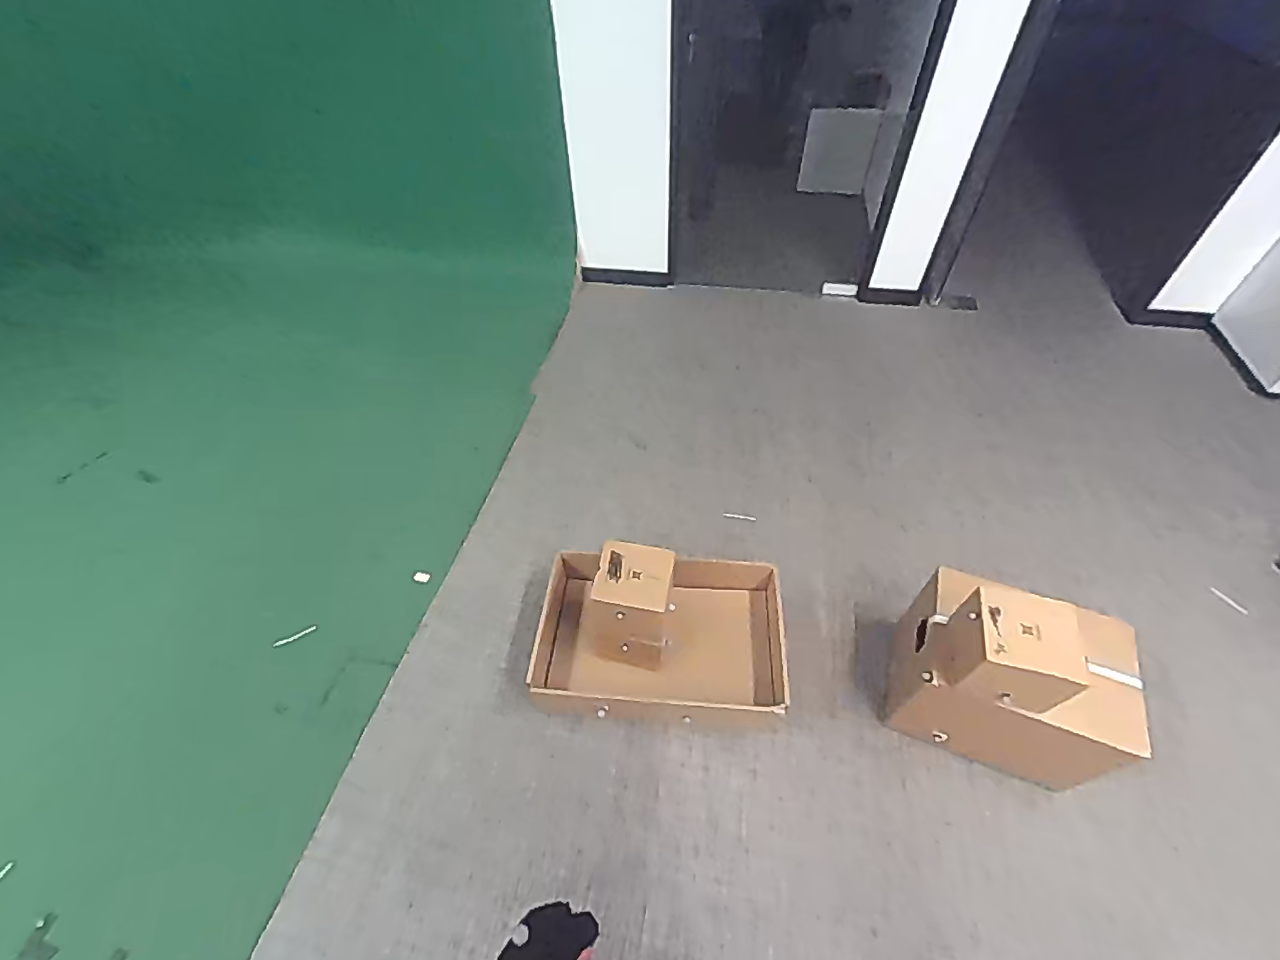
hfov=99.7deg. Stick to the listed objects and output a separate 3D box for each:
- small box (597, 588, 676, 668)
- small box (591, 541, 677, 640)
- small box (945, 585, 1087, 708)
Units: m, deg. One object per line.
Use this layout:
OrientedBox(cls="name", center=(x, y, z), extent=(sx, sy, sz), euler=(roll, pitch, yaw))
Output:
OrientedBox(cls="small box", center=(-0.008, 0.382, 1.443), extent=(0.179, 0.176, 0.168), euler=(10, 50, 7))
OrientedBox(cls="small box", center=(-0.011, 0.273, 1.319), extent=(0.179, 0.176, 0.168), euler=(9, 50, 7))
OrientedBox(cls="small box", center=(0.749, 0.343, 1.098), extent=(0.179, 0.176, 0.168), euler=(12, 52, 12))
